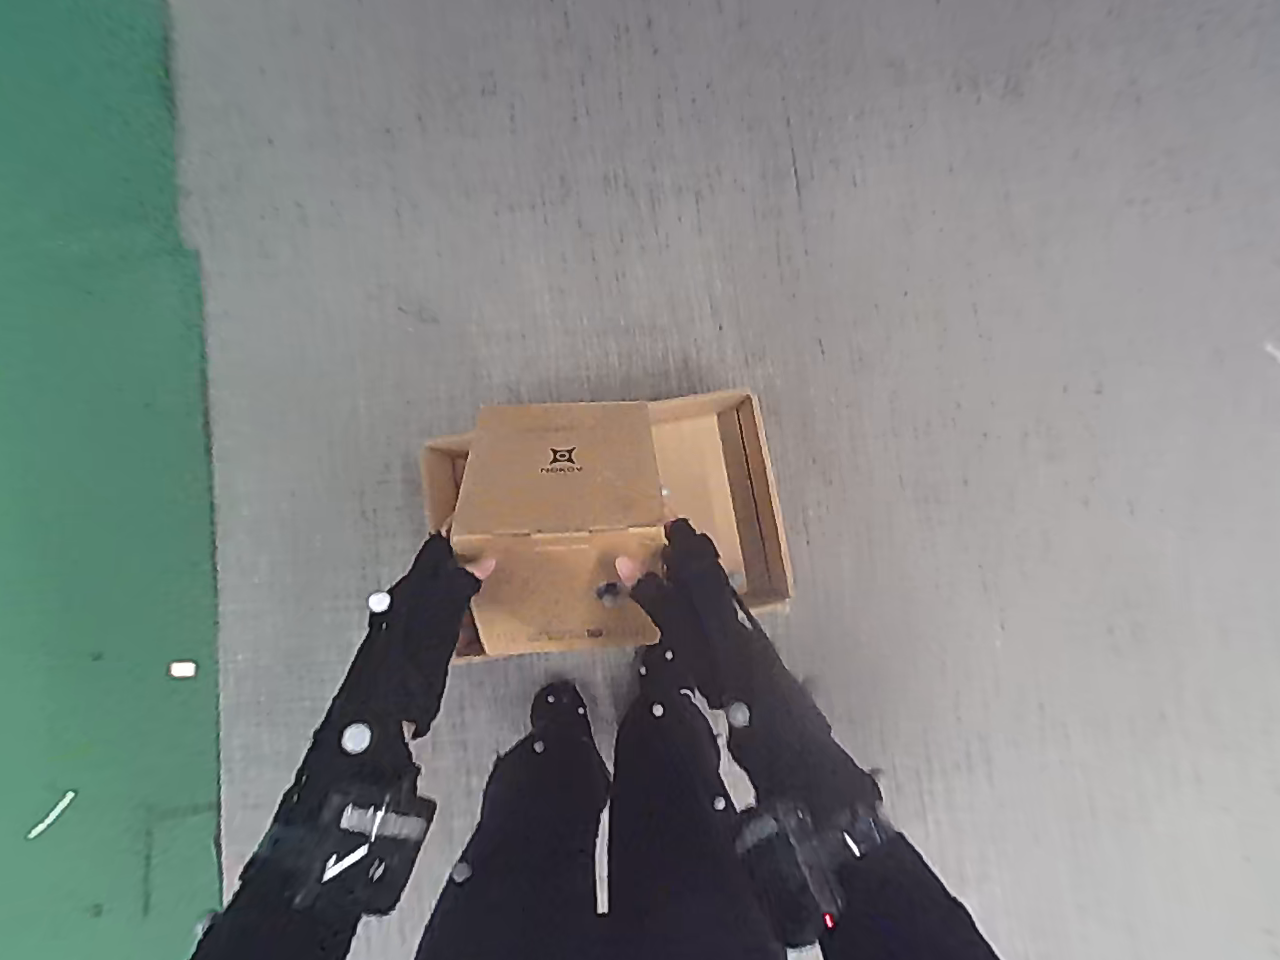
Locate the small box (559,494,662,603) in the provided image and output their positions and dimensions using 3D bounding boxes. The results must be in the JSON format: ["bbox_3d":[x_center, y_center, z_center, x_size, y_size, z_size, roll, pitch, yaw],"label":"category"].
[{"bbox_3d":[-0.049,0.125,1.011,0.168,0.176,0.179,-7,84,1],"label":"small box"}]
